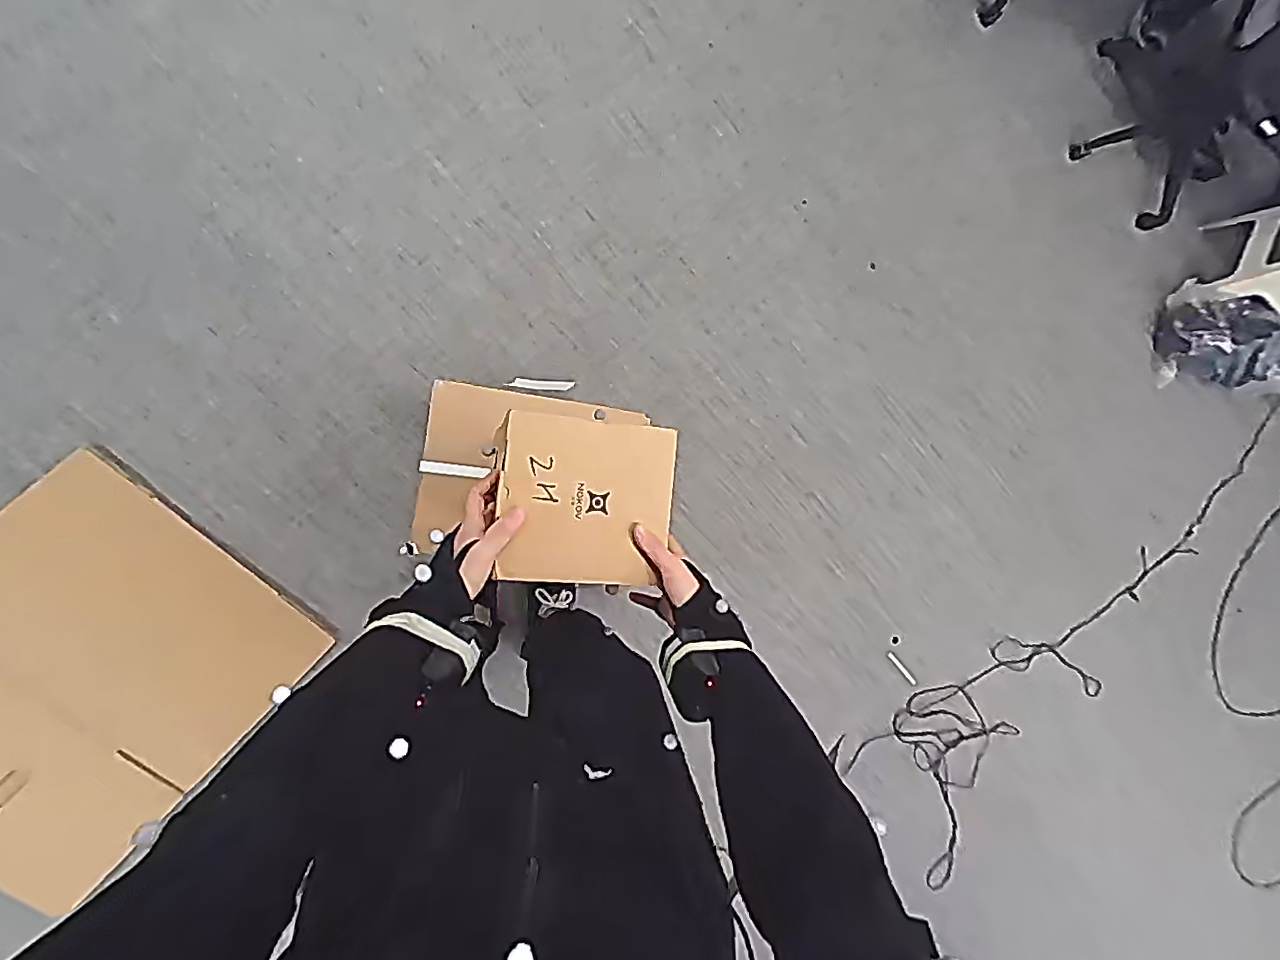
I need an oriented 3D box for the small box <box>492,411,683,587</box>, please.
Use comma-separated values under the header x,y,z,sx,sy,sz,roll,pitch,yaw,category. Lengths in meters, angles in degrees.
x,y,z,sx,sy,sz,roll,pitch,yaw,category
-0.069,0.021,0.614,0.179,0.176,0.168,6,88,-17,small box
